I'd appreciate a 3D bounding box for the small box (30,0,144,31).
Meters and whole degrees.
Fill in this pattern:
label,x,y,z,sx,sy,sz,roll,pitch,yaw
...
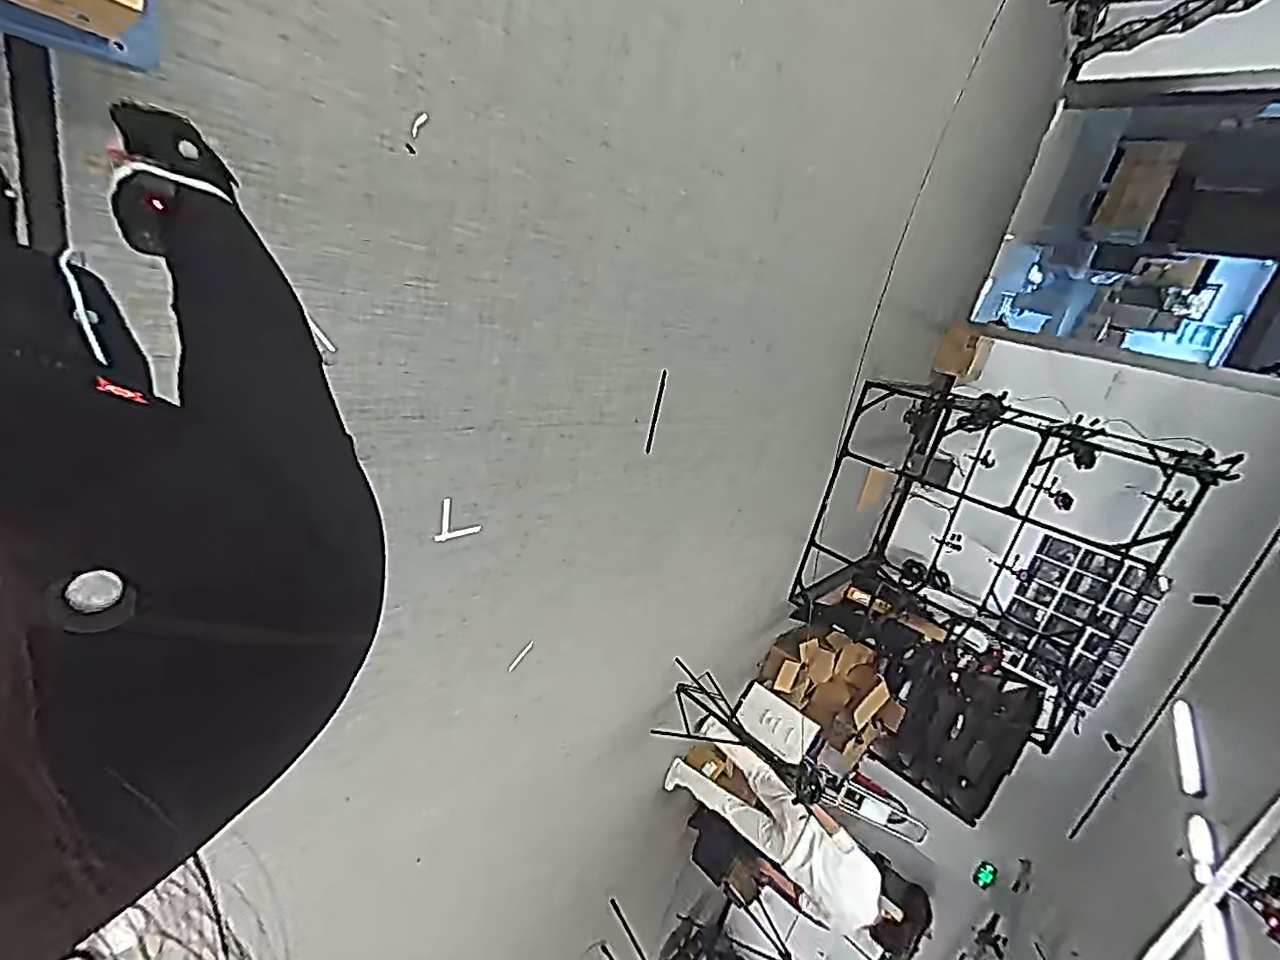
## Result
label,x,y,z,sx,sy,sz,roll,pitch,yaw
small box,-0.672,-0.642,0.594,0.168,0.176,0.179,-6,117,-49
